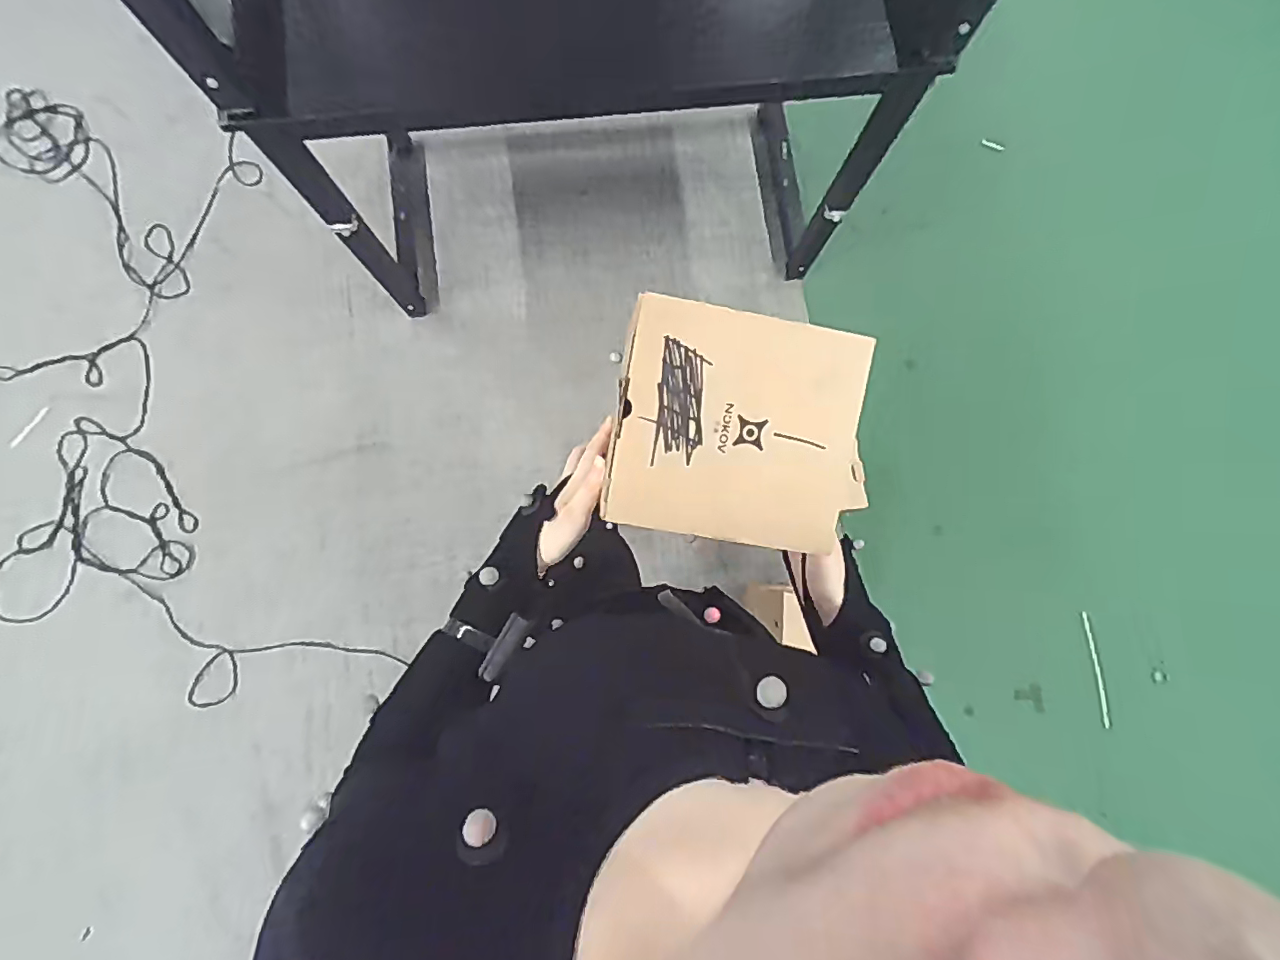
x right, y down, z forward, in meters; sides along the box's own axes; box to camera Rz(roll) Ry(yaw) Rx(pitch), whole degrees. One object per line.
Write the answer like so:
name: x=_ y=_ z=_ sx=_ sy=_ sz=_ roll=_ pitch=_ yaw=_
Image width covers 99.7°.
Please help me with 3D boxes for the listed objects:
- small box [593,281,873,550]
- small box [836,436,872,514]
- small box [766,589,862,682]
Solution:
small box: x=0.060 y=-0.049 z=0.457 sx=0.179 sy=0.176 sz=0.168 roll=9 pitch=95 yaw=-5
small box: x=0.418 y=0.002 z=1.283 sx=0.179 sy=0.176 sz=0.168 roll=-7 pitch=82 yaw=-4
small box: x=0.390 y=0.346 z=1.233 sx=0.168 sy=0.176 sz=0.179 roll=4 pitch=82 yaw=0
